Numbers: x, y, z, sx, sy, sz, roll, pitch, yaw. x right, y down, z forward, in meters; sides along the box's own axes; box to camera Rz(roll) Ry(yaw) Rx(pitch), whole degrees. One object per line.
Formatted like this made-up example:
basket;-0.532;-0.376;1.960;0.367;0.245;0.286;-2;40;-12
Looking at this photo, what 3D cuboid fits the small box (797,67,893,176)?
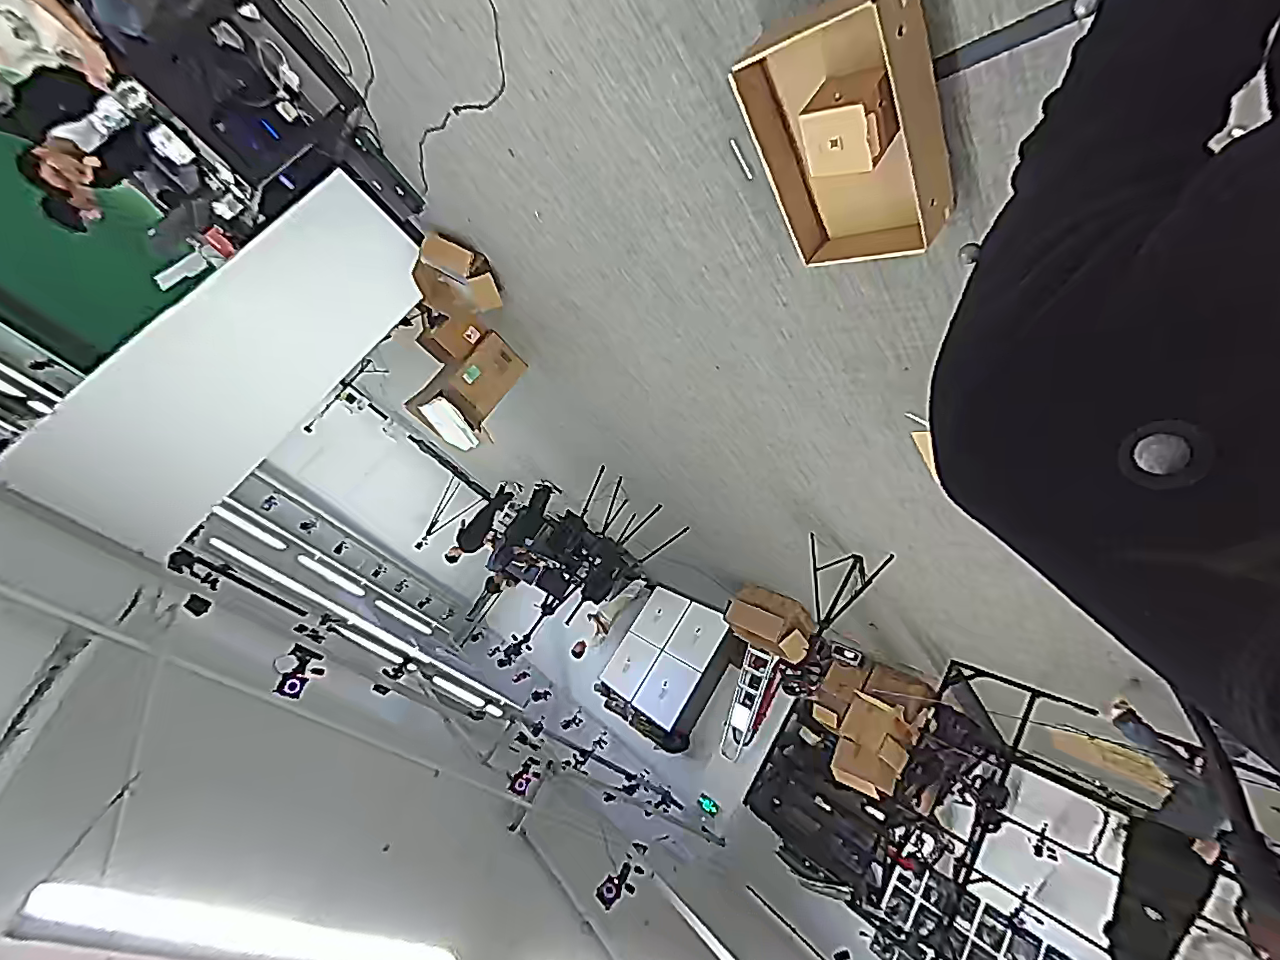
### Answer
small box;0.532;-0.914;1.383;0.179;0.176;0.168;20;158;39
